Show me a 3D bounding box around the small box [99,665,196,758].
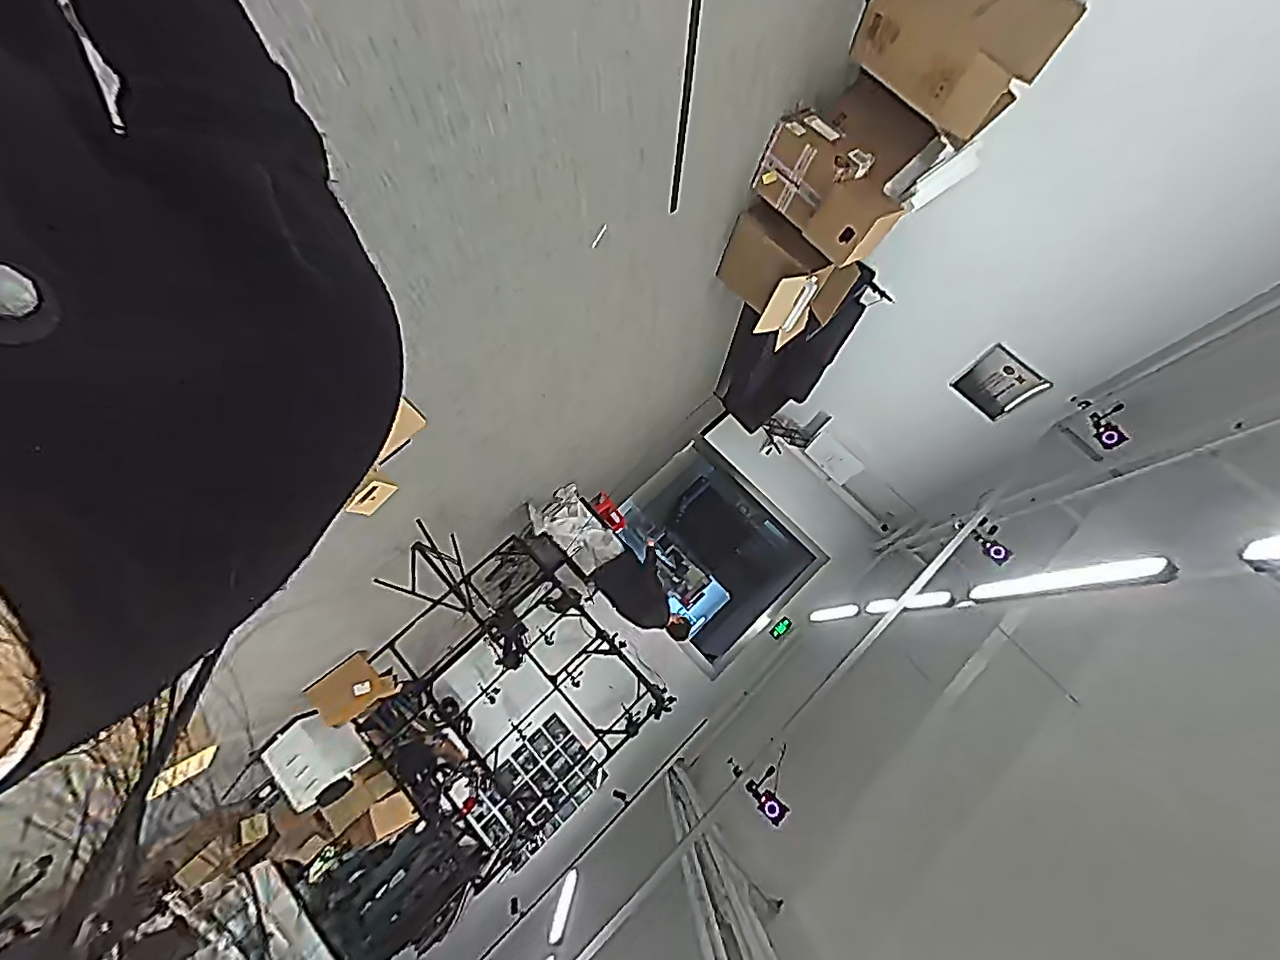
[{"bbox_3d":[-1.530,0.711,1.677,0.179,0.176,0.168,-50,167,28],"label":"small box"}]

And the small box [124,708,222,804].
[{"bbox_3d":[-1.418,0.824,1.639,0.179,0.176,0.168,-51,167,28],"label":"small box"}]
